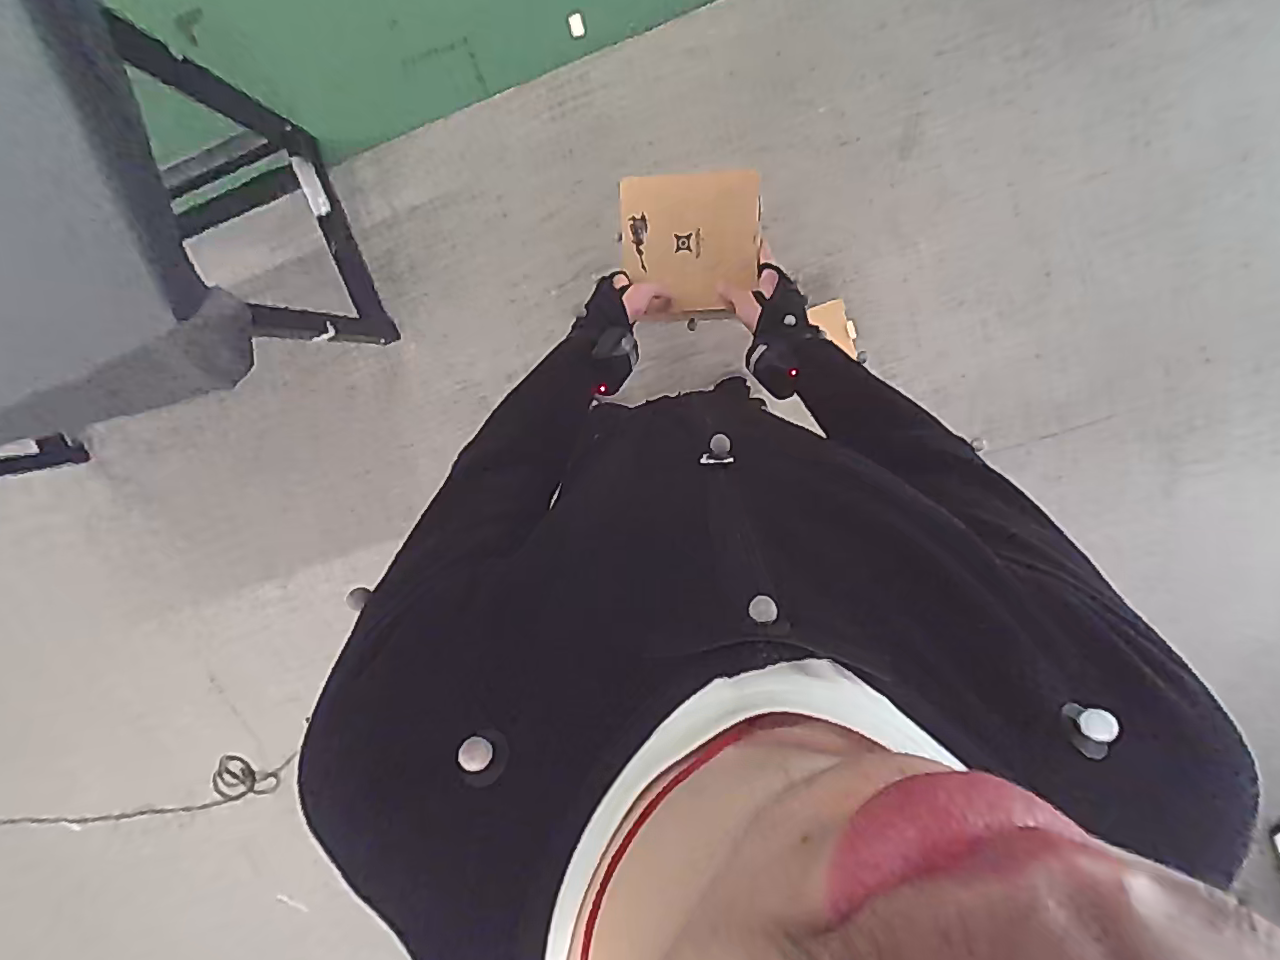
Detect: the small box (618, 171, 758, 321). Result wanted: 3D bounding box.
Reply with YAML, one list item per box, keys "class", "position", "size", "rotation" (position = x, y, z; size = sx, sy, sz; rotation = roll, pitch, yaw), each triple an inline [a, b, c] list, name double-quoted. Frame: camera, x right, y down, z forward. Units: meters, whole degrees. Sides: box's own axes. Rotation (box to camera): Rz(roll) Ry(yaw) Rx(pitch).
- class: "small box"
  position: [0.066, -0.316, 0.760]
  size: [0.179, 0.176, 0.168]
  rotation: [-1, 102, 5]

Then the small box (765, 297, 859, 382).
- class: "small box"
  position: [0.436, -0.356, 1.392]
  size: [0.179, 0.176, 0.168]
  rotation: [-15, 99, 7]
